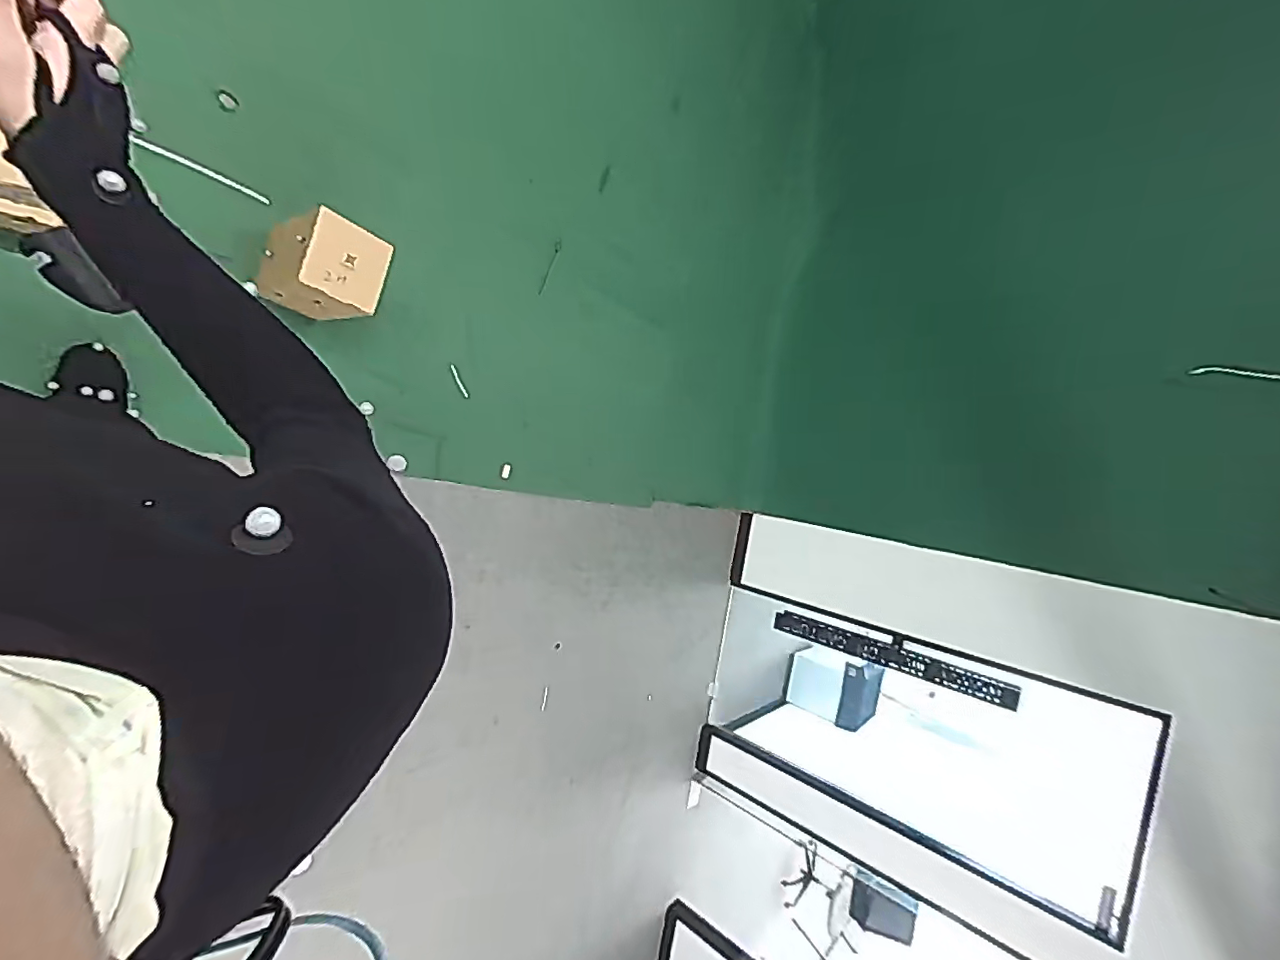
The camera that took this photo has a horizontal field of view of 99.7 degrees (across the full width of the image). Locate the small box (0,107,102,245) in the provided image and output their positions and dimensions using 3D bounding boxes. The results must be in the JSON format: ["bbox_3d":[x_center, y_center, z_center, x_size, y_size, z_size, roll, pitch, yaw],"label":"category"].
[{"bbox_3d":[-1.137,-0.560,1.008,0.168,0.176,0.179,6,93,-50],"label":"small box"}]

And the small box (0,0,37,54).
[{"bbox_3d":[-0.502,-0.402,0.322,0.168,0.176,0.179,-13,116,-44],"label":"small box"}]

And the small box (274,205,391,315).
[{"bbox_3d":[-0.720,-0.503,1.262,0.168,0.176,0.179,20,83,-50],"label":"small box"}]
